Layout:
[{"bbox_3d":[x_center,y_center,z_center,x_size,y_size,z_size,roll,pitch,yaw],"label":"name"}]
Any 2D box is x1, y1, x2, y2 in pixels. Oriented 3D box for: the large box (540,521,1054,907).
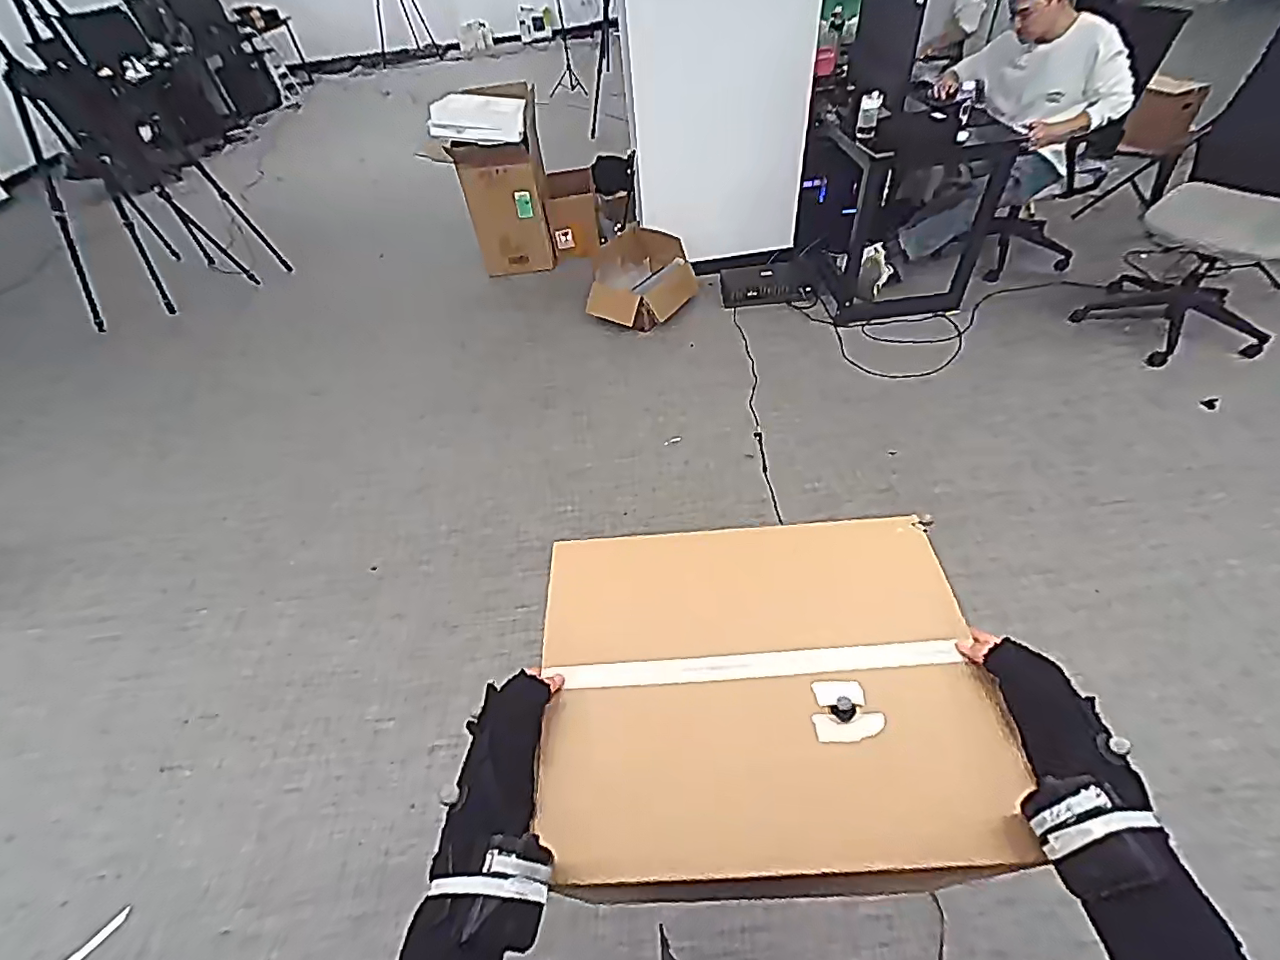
[{"bbox_3d":[0.121,0.274,0.620,0.408,0.320,0.320,-4,50,2],"label":"large box"}]
